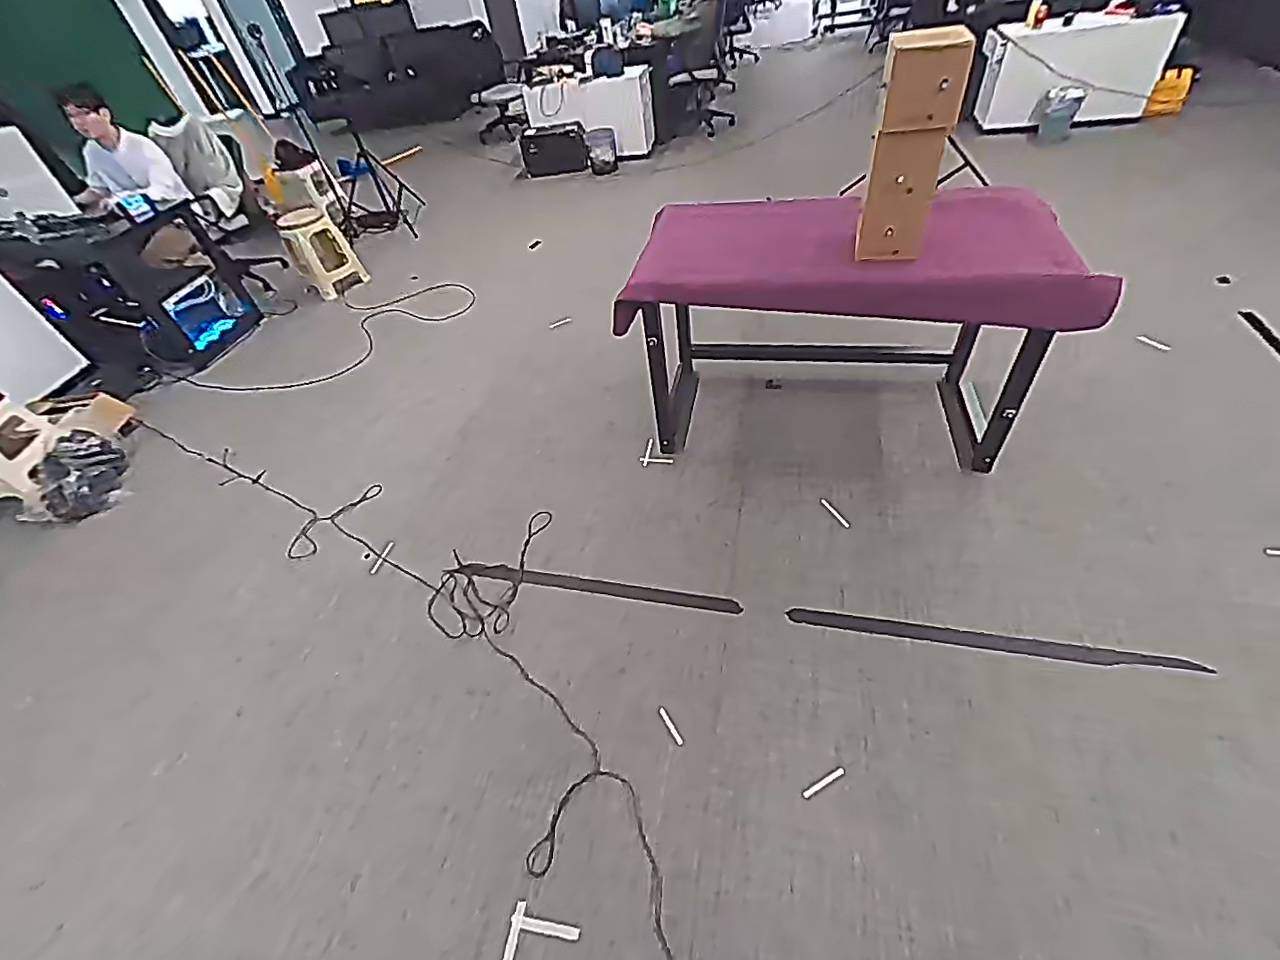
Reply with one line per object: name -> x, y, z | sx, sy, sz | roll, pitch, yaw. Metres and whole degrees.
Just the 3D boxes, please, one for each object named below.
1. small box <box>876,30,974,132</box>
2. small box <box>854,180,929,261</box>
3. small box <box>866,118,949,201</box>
small box -> 0.677, -0.956, 1.304 | 0.168, 0.176, 0.179 | 4, 47, 13
small box -> 0.717, -0.746, 1.552 | 0.168, 0.176, 0.179 | 7, 48, 16
small box -> 0.700, -0.861, 1.436 | 0.168, 0.176, 0.179 | 6, 49, 16
